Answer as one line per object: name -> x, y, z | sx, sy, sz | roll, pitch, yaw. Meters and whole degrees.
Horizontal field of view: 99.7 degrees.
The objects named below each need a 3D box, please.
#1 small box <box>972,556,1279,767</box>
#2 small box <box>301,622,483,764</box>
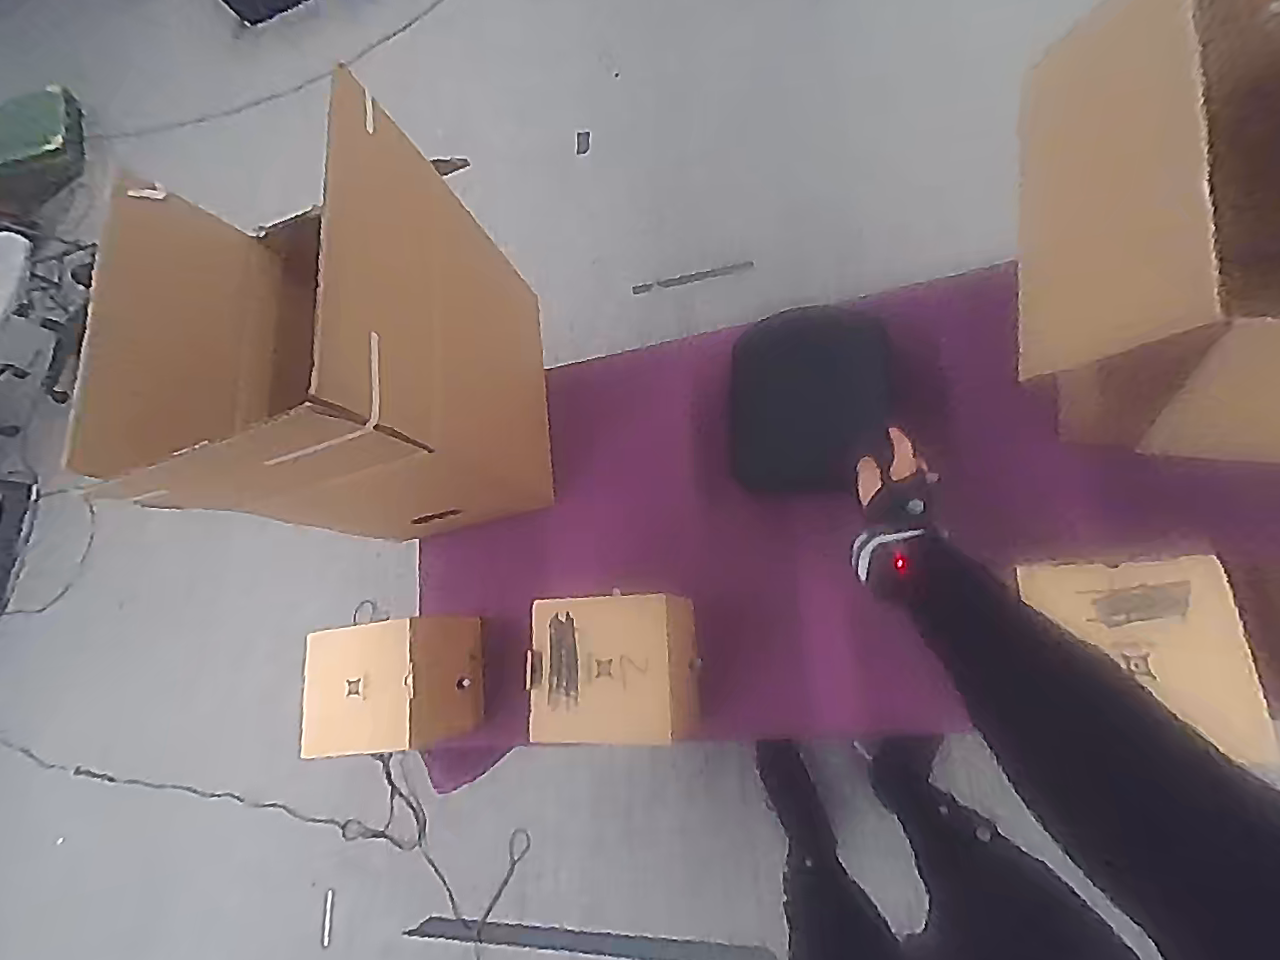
small box -> 0.470, 0.180, 0.562 | 0.168, 0.176, 0.179 | -7, 74, 16
small box -> -0.354, 0.306, 0.795 | 0.179, 0.176, 0.168 | -12, 72, 13
